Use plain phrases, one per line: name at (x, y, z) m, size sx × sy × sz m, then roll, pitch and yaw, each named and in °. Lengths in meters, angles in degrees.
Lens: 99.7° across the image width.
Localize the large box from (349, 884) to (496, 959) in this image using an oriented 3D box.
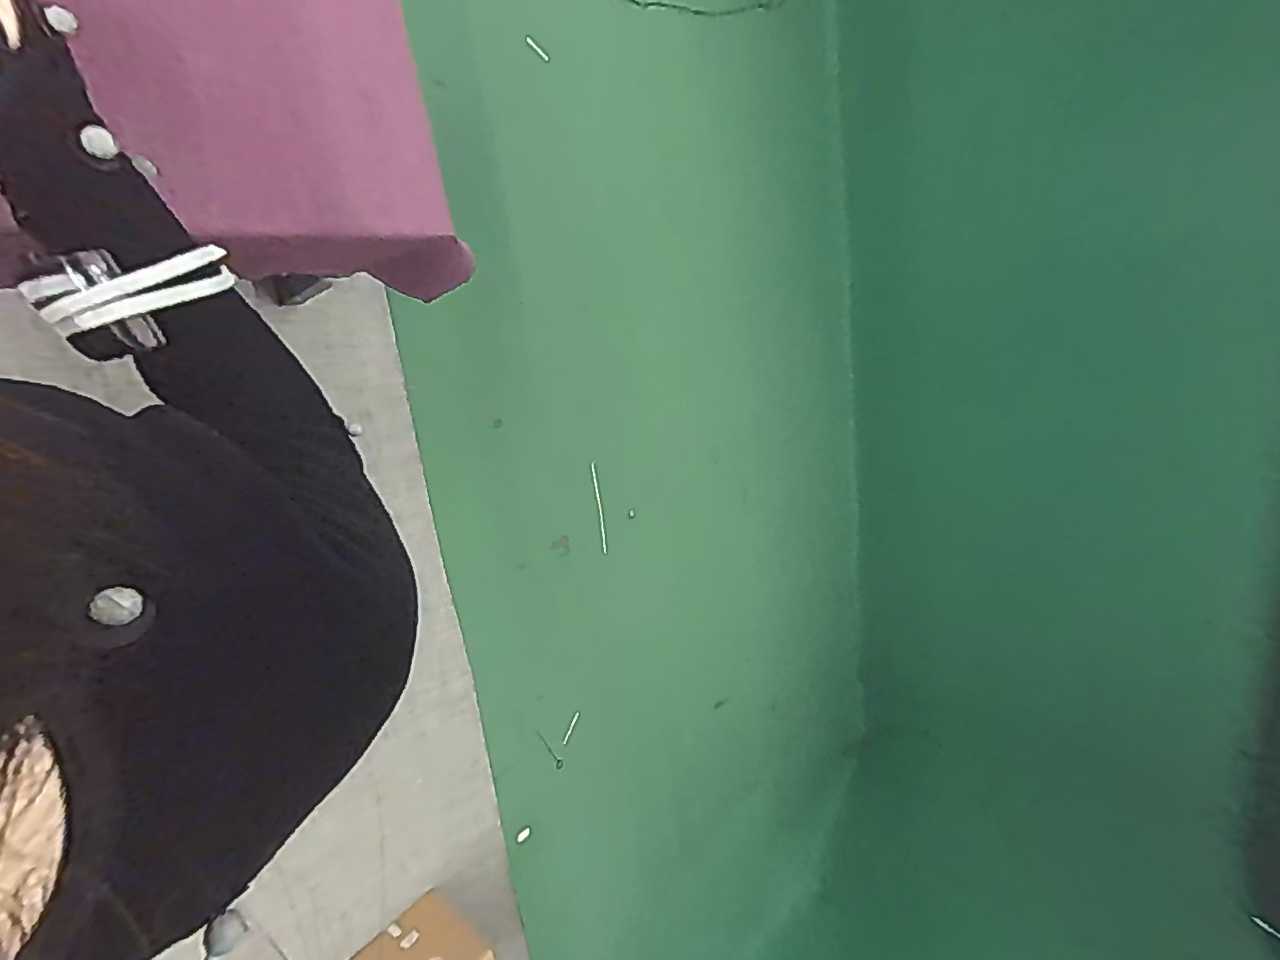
large box at (-0.600, 1.494, 1.537) m, size 0.320 × 0.320 × 0.408 m, roll -22°, pitch 110°, yaw -44°

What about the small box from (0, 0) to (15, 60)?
small box at (-0.457, -0.334, 0.254) m, size 0.168 × 0.176 × 0.179 m, roll -15°, pitch 116°, yaw -35°
